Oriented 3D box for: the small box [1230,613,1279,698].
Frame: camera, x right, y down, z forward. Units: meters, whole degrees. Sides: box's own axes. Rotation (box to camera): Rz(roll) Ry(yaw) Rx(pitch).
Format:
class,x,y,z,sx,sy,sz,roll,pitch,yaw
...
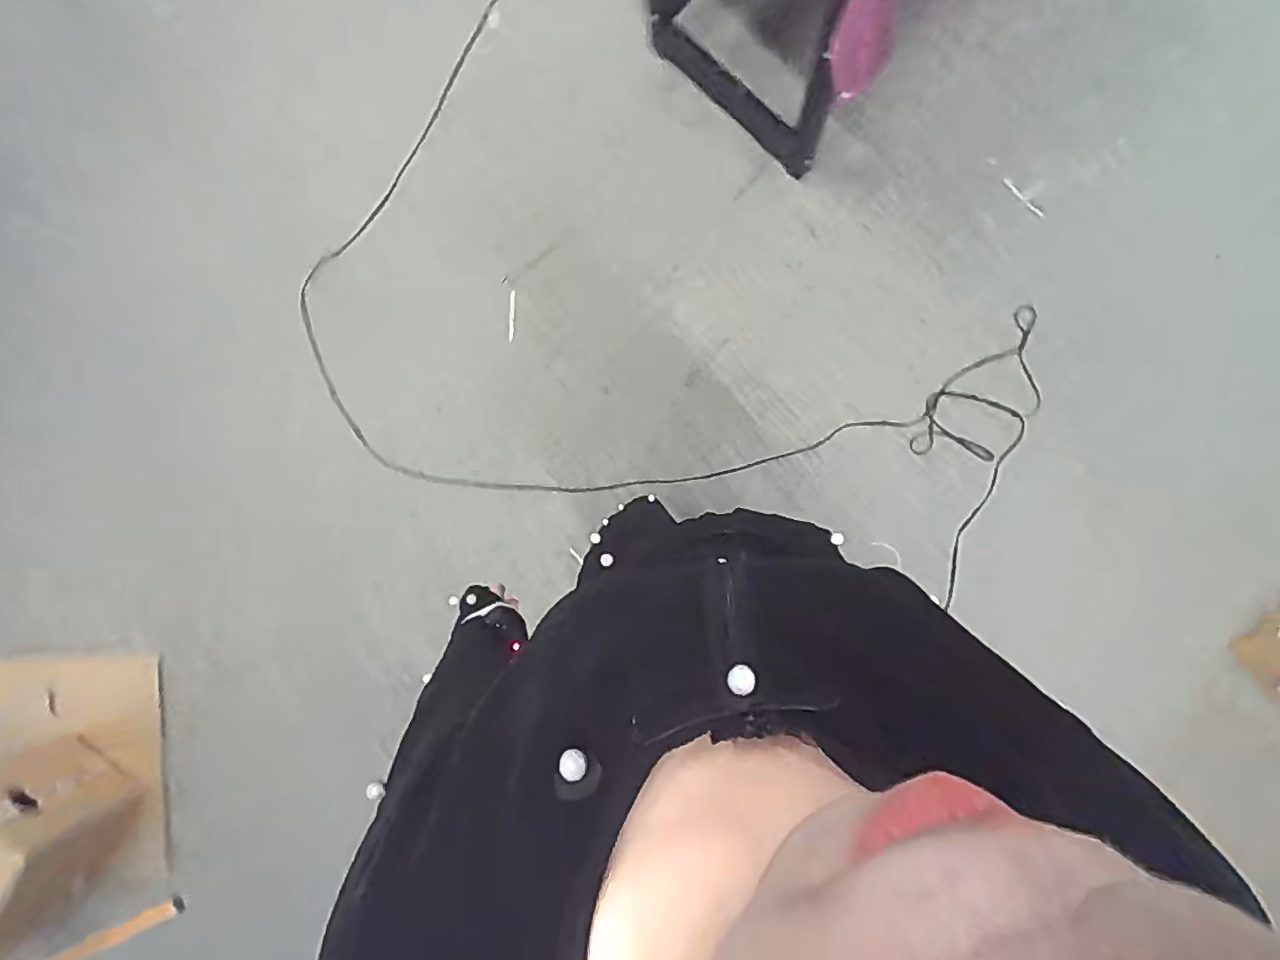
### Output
class,x,y,z,sx,sy,sz,roll,pitch,yaw
small box,1.569,0.427,1.258,0.168,0.176,0.179,-39,85,6
